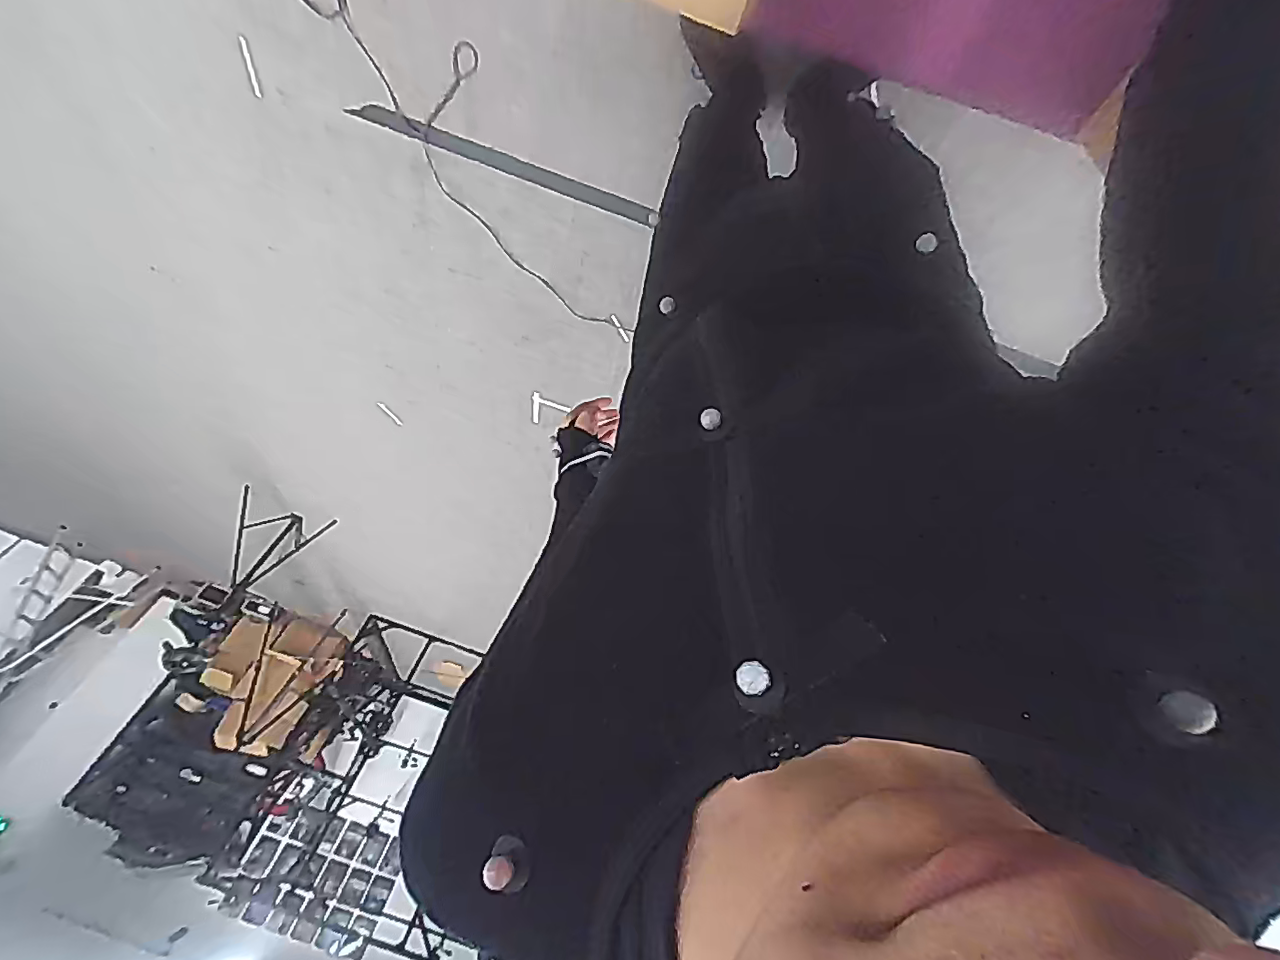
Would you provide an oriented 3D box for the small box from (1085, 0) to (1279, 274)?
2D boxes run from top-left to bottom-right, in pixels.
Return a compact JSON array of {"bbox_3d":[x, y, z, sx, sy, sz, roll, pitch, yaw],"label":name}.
[{"bbox_3d":[0.524,-0.314,0.446,0.168,0.176,0.179,22,142,-2],"label":"small box"}]
